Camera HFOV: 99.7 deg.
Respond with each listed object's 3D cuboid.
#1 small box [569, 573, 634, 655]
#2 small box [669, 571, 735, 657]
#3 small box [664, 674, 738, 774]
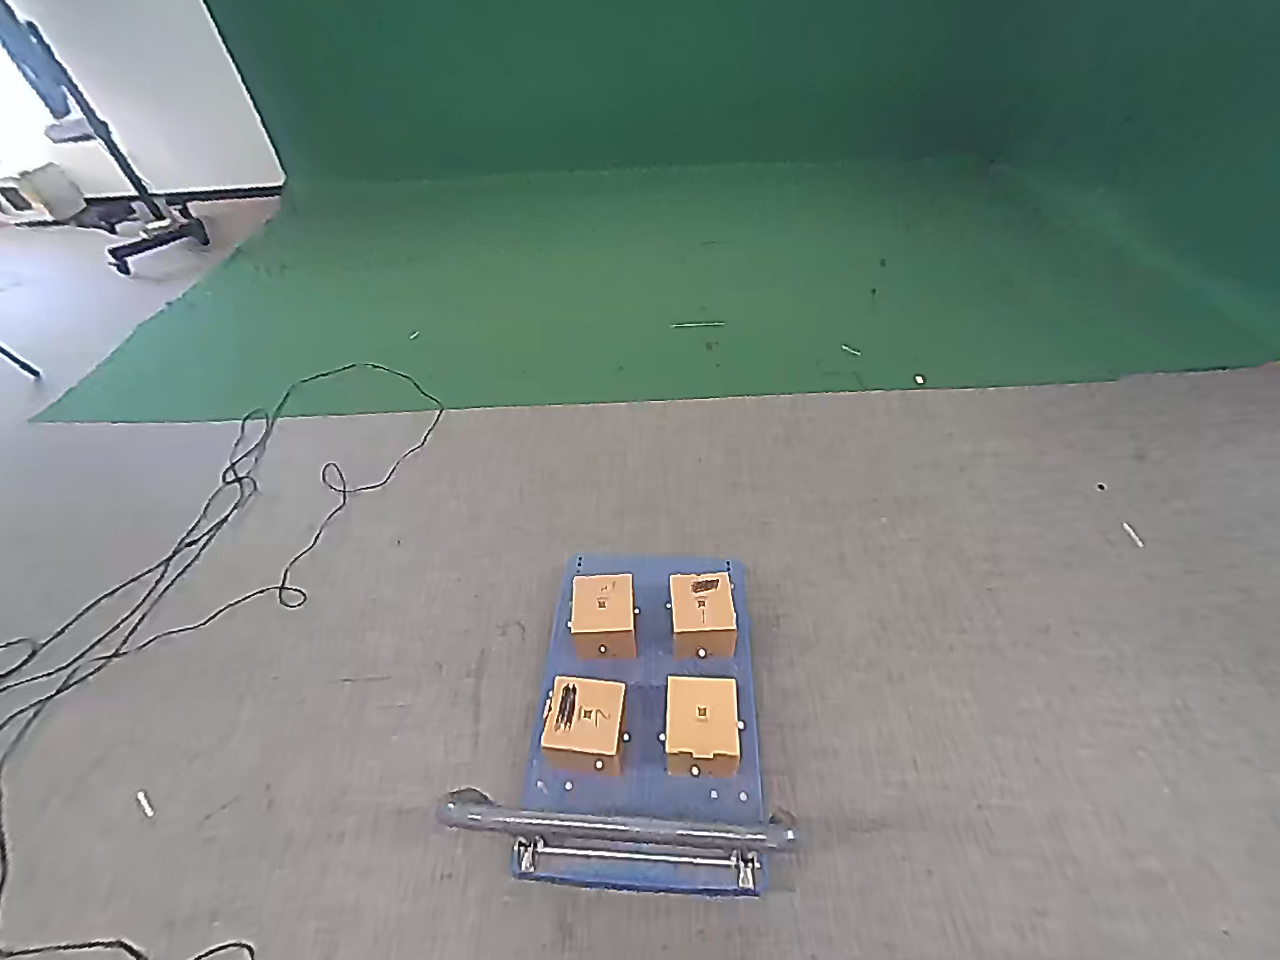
[{"bbox_3d":[-0.103,0.382,1.524,0.168,0.176,0.179,-2,47,0],"label":"small box"},{"bbox_3d":[0.167,0.377,1.516,0.168,0.176,0.179,-3,48,1],"label":"small box"},{"bbox_3d":[0.144,0.595,1.318,0.168,0.176,0.179,1,48,4],"label":"small box"}]
